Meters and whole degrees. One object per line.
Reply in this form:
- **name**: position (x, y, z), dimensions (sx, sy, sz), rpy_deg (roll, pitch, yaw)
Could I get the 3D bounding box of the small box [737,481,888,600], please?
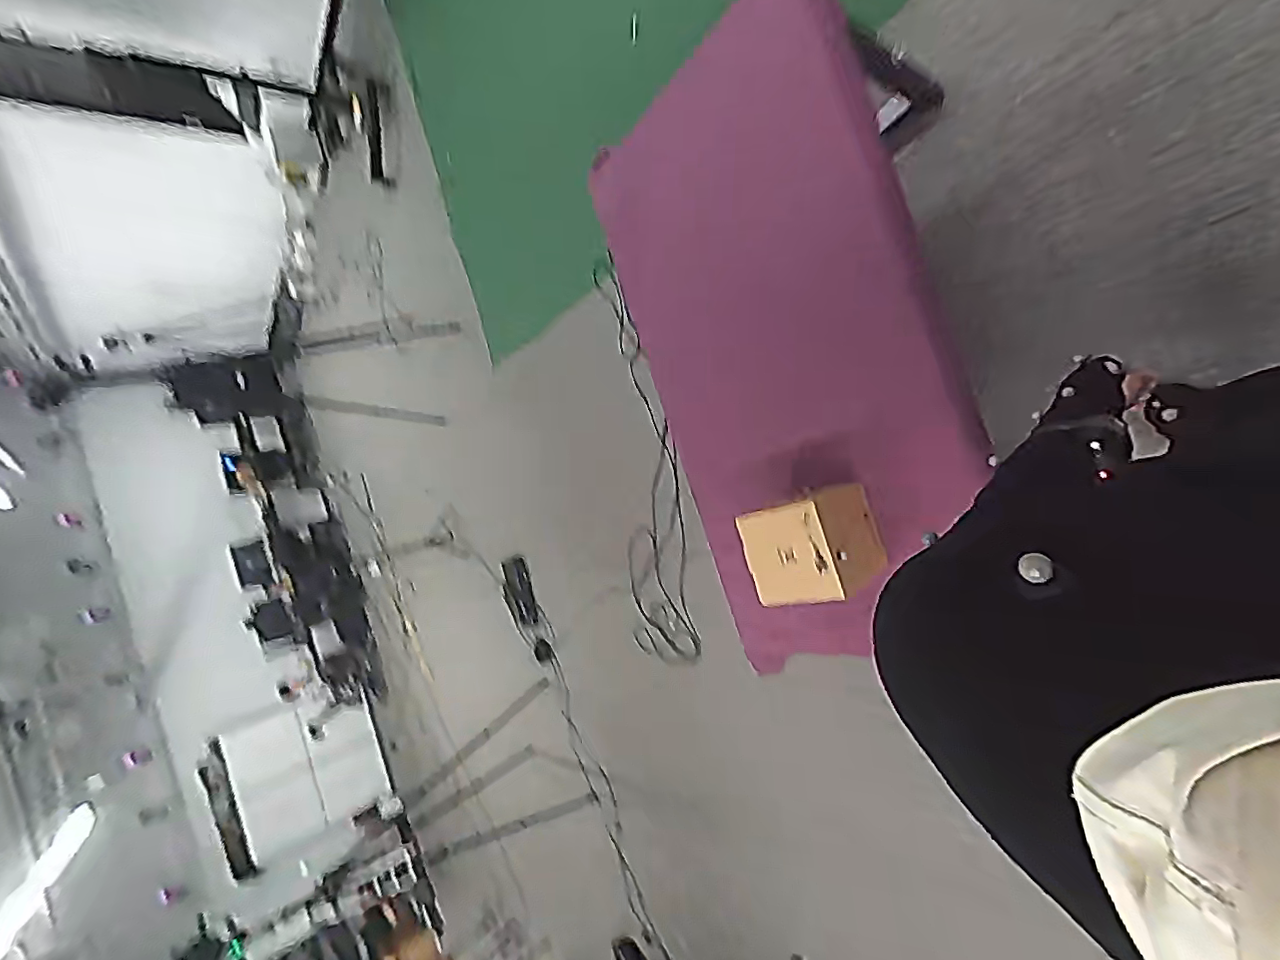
- **small box**: position (0.315, 0.111, 0.987), dimensions (0.179, 0.176, 0.168), rpy_deg (-21, 86, 50)
